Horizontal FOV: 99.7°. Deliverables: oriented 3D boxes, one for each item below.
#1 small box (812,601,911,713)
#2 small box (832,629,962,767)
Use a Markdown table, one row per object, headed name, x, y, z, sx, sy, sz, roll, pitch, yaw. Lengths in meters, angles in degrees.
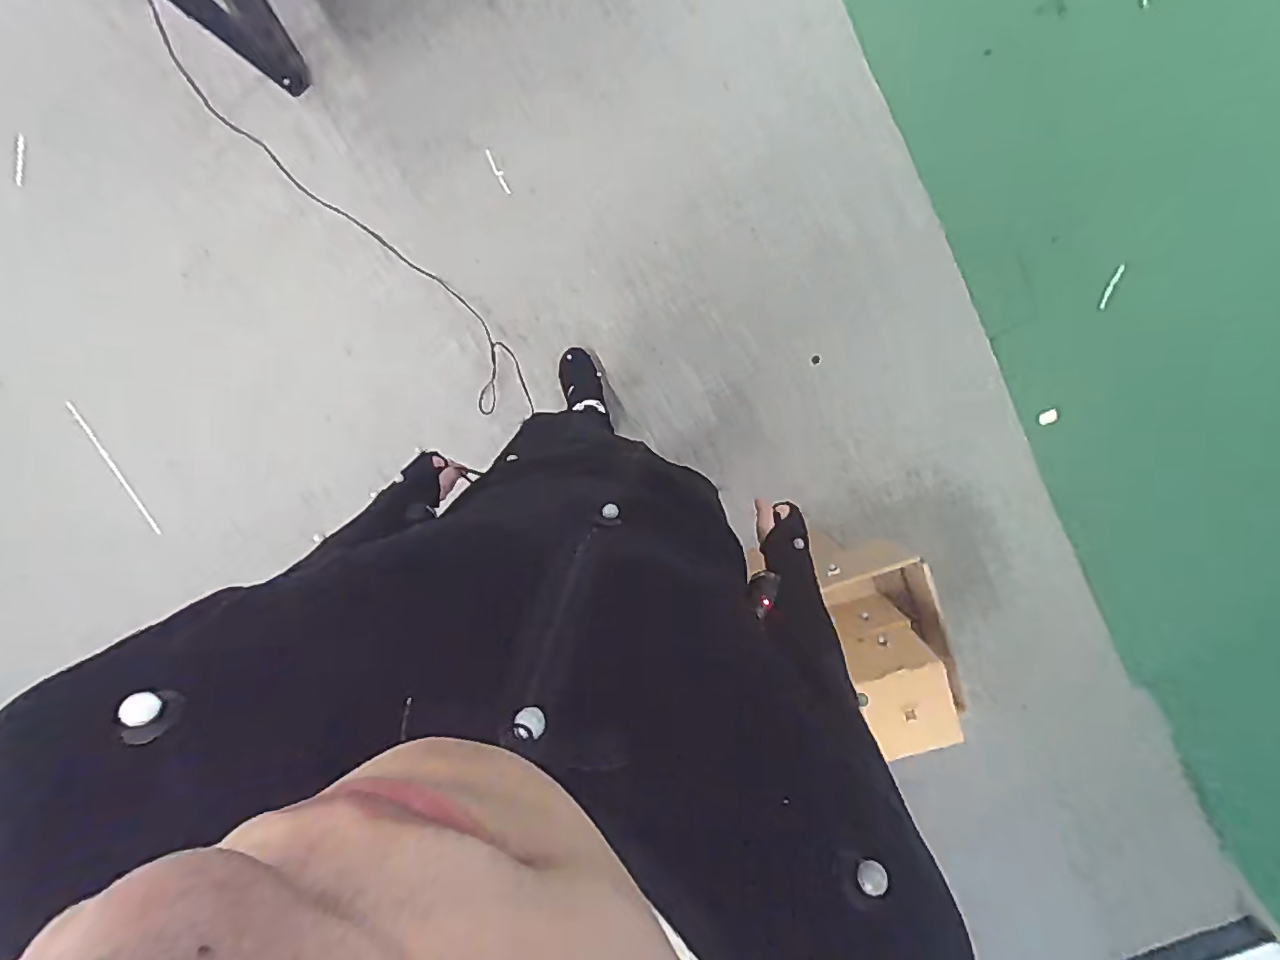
| name | x | y | z | sx | sy | sz | roll | pitch | yaw |
| --- | --- | --- | --- | --- | --- | --- | --- | --- | --- |
| small box | 0.519 | 0.399 | 1.249 | 0.179 | 0.176 | 0.168 | -18 | 97 | 8 |
| small box | 0.507 | 0.430 | 1.087 | 0.168 | 0.176 | 0.179 | -18 | 98 | 7 |
